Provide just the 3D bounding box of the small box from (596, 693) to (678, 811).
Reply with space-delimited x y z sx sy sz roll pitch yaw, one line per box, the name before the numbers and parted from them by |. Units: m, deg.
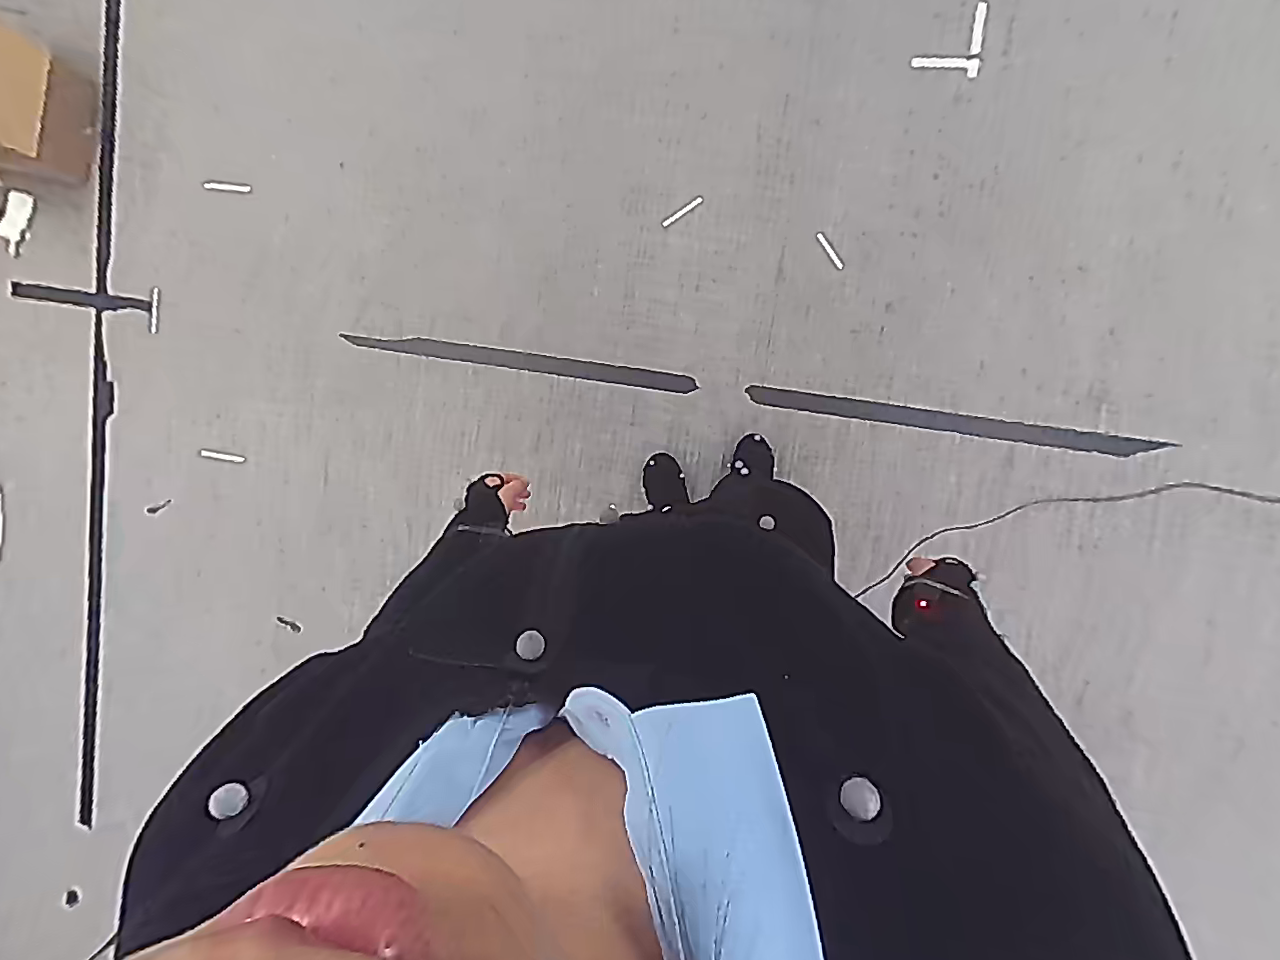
small box | -0.002 0.628 1.267 0.168 0.176 0.179 4 94 7
